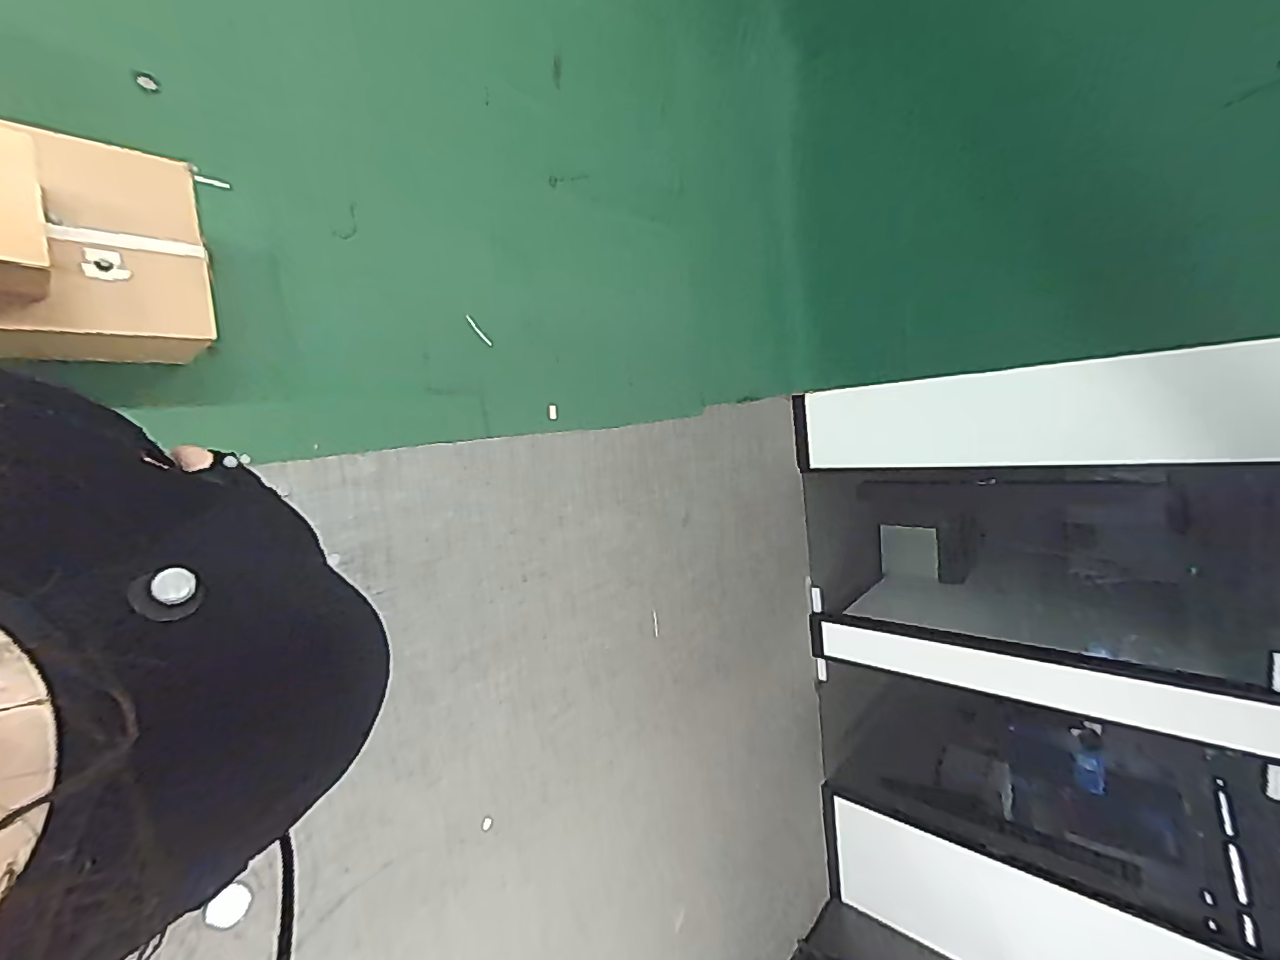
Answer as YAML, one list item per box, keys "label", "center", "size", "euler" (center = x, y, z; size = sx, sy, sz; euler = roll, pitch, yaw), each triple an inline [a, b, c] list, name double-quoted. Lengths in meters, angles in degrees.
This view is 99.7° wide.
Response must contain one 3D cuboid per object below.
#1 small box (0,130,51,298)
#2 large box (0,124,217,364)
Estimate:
- label: "small box"
  center: [-0.905, -0.355, 0.707]
  size: [0.168, 0.176, 0.179]
  euler: [-8, 97, -48]
- label: "large box"
  center: [-1.032, -0.378, 0.929]
  size: [0.408, 0.320, 0.320]
  euler: [-11, 99, -48]
